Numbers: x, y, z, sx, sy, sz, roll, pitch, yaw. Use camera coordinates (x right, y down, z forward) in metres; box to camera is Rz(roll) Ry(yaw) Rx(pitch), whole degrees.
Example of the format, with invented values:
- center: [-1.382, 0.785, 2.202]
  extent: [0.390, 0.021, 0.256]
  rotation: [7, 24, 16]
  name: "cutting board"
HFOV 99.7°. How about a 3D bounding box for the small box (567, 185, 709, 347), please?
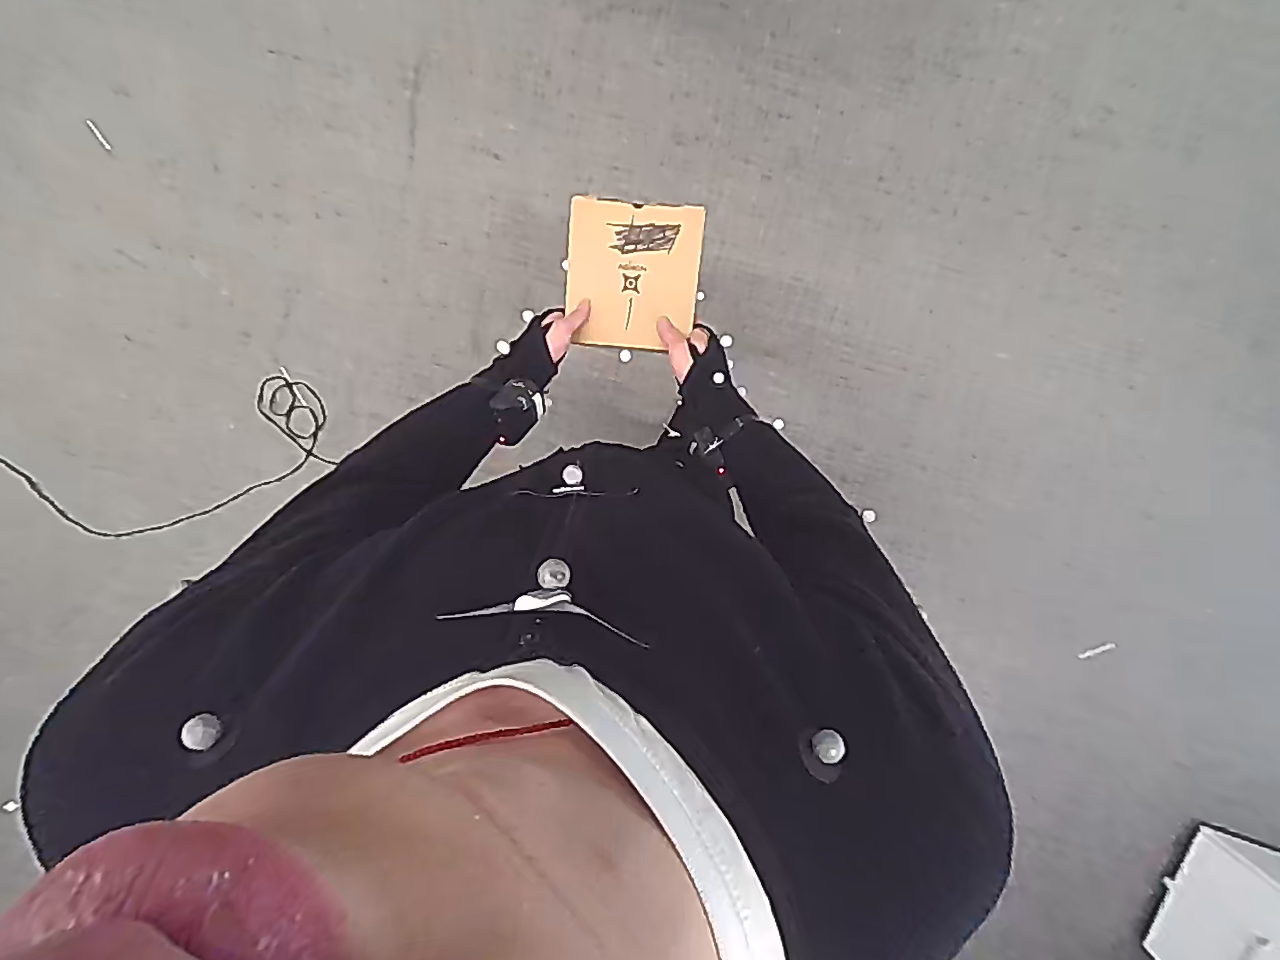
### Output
- center: [-0.004, -0.283, 0.748]
  extent: [0.168, 0.176, 0.179]
  rotation: [5, 103, 0]
  name: "small box"
